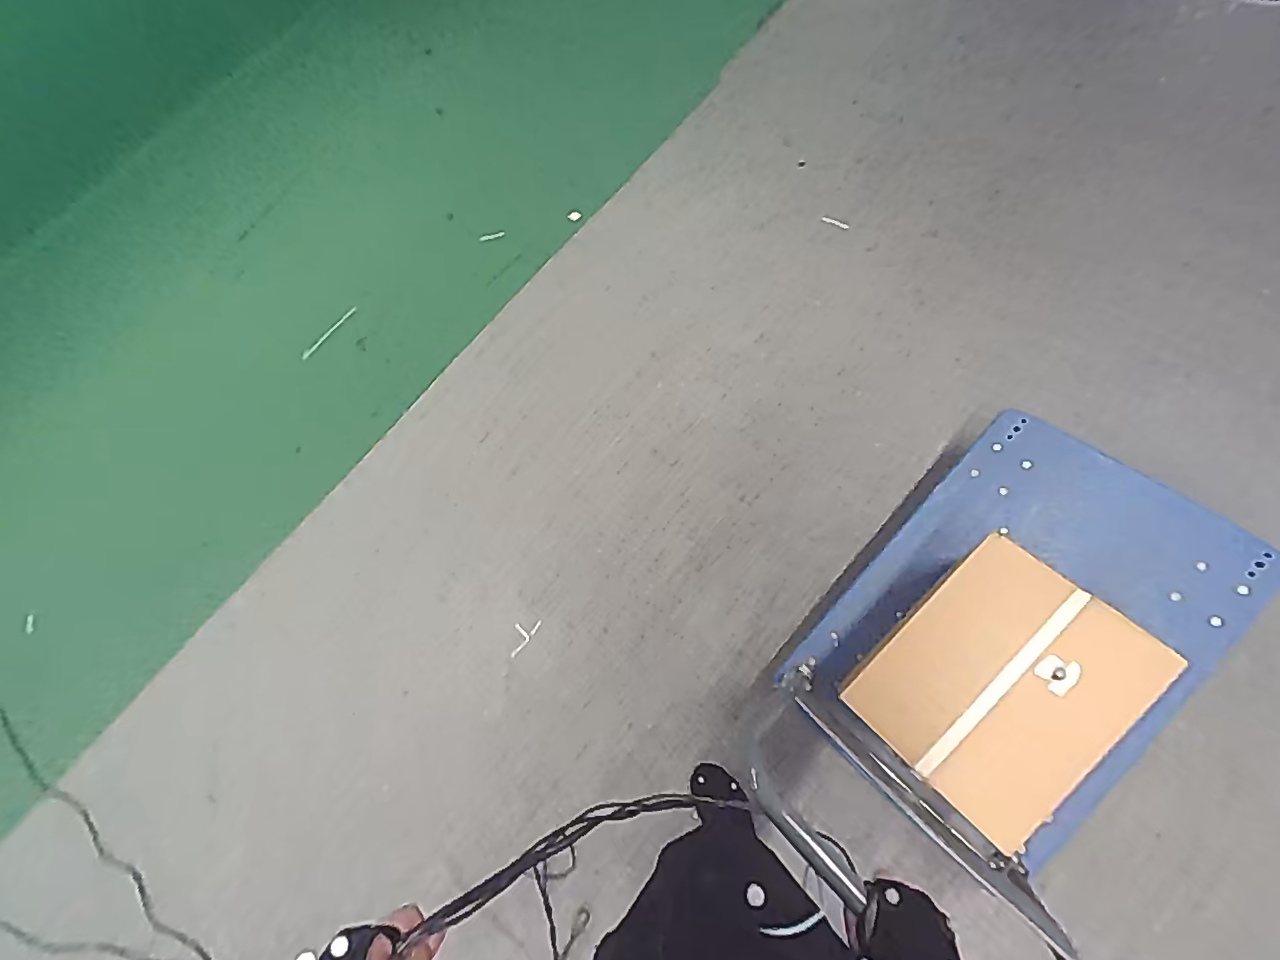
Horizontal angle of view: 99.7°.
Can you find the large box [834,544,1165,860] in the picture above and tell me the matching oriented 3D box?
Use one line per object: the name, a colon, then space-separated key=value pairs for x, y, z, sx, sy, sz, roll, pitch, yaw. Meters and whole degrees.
large box: x=0.622 y=0.397 z=1.024 sx=0.408 sy=0.320 sz=0.320 roll=-46 pitch=64 yaw=-1
